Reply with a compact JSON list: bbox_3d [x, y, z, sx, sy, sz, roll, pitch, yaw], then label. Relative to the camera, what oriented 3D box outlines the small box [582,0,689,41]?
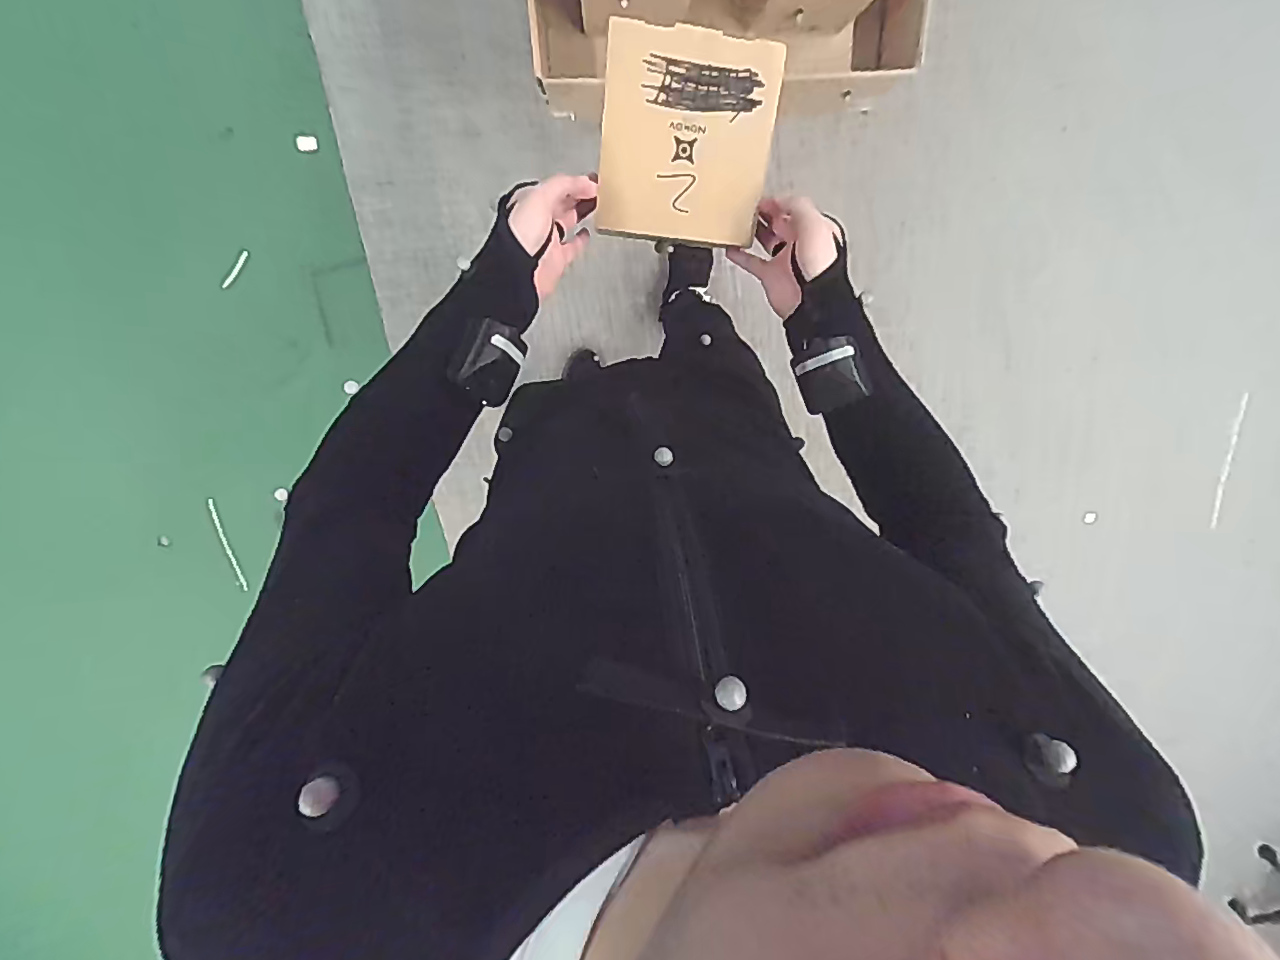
[{"bbox_3d":[-0.008,-0.817,0.827,0.168,0.176,0.179,0,110,-1],"label":"small box"}]

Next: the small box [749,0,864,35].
[{"bbox_3d":[0.270,-0.826,0.839,0.168,0.176,0.179,-2,110,-2],"label":"small box"}]
